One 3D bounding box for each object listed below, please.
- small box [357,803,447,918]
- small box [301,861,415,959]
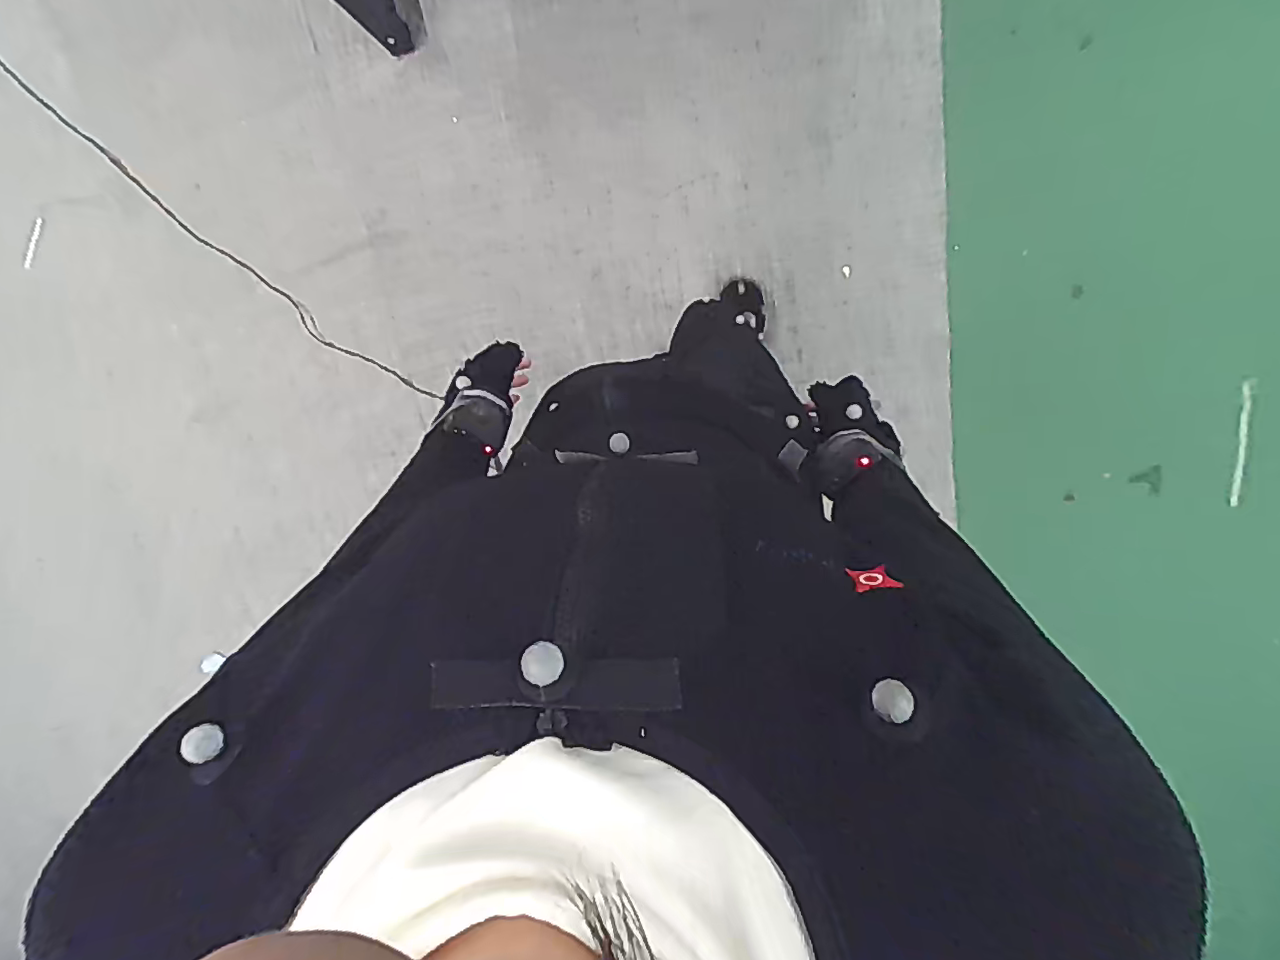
[{"bbox_3d":[-0.613,0.971,1.365,0.168,0.176,0.179,23,104,-3],"label":"small box"},{"bbox_3d":[-0.622,0.998,1.202,0.168,0.176,0.179,15,104,-1],"label":"small box"}]
